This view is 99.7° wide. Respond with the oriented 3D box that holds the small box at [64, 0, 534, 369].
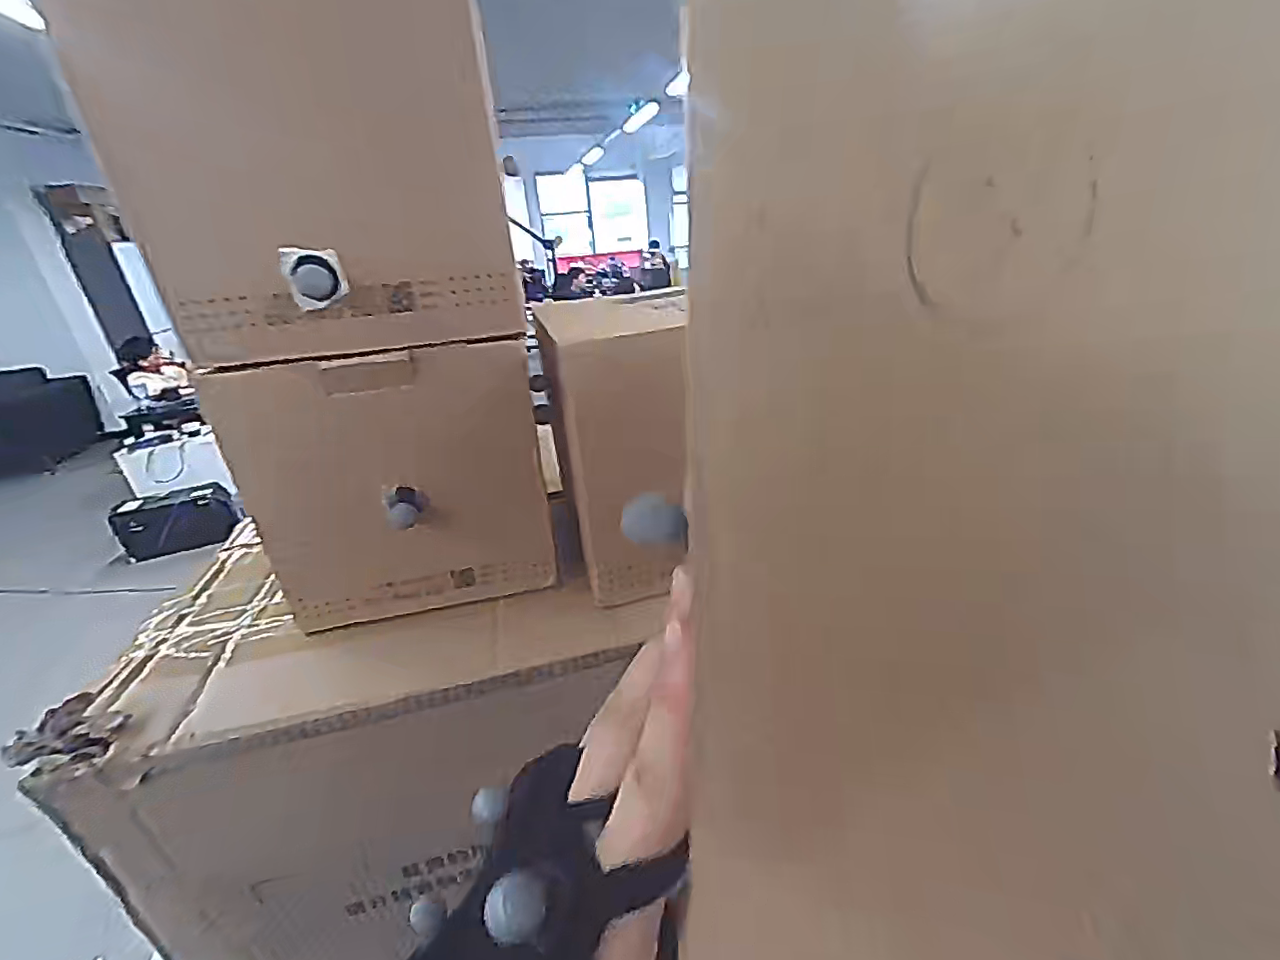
[{"bbox_3d":[-0.163,-0.172,0.326,0.168,0.176,0.179,-11,27,-11],"label":"small box"}]
